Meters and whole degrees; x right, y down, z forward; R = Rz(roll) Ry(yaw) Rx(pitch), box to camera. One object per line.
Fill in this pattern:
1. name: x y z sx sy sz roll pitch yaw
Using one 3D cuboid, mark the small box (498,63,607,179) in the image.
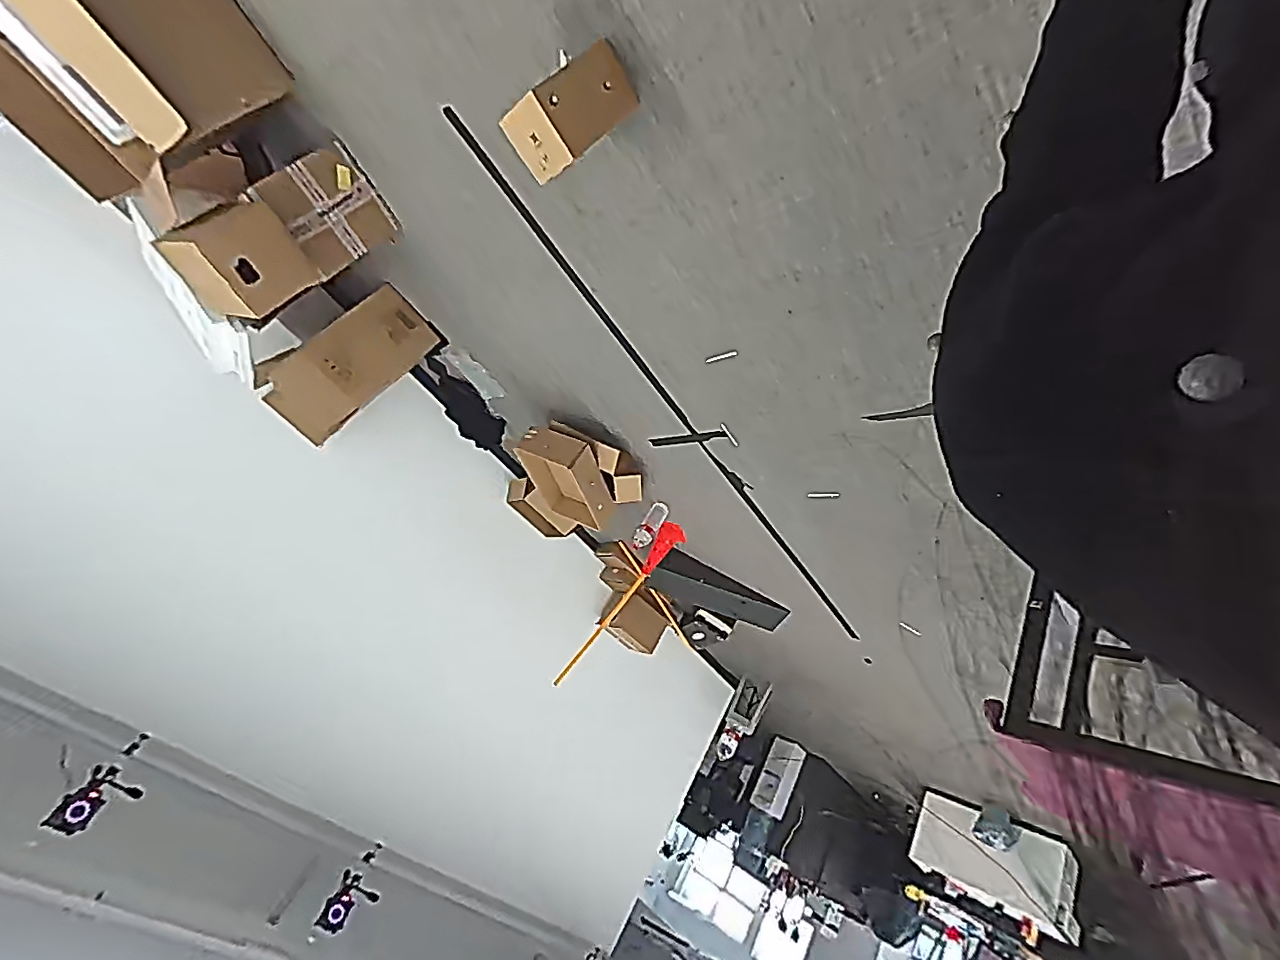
1. small box: -0.222 -0.927 1.393 0.168 0.176 0.179 2 140 49
